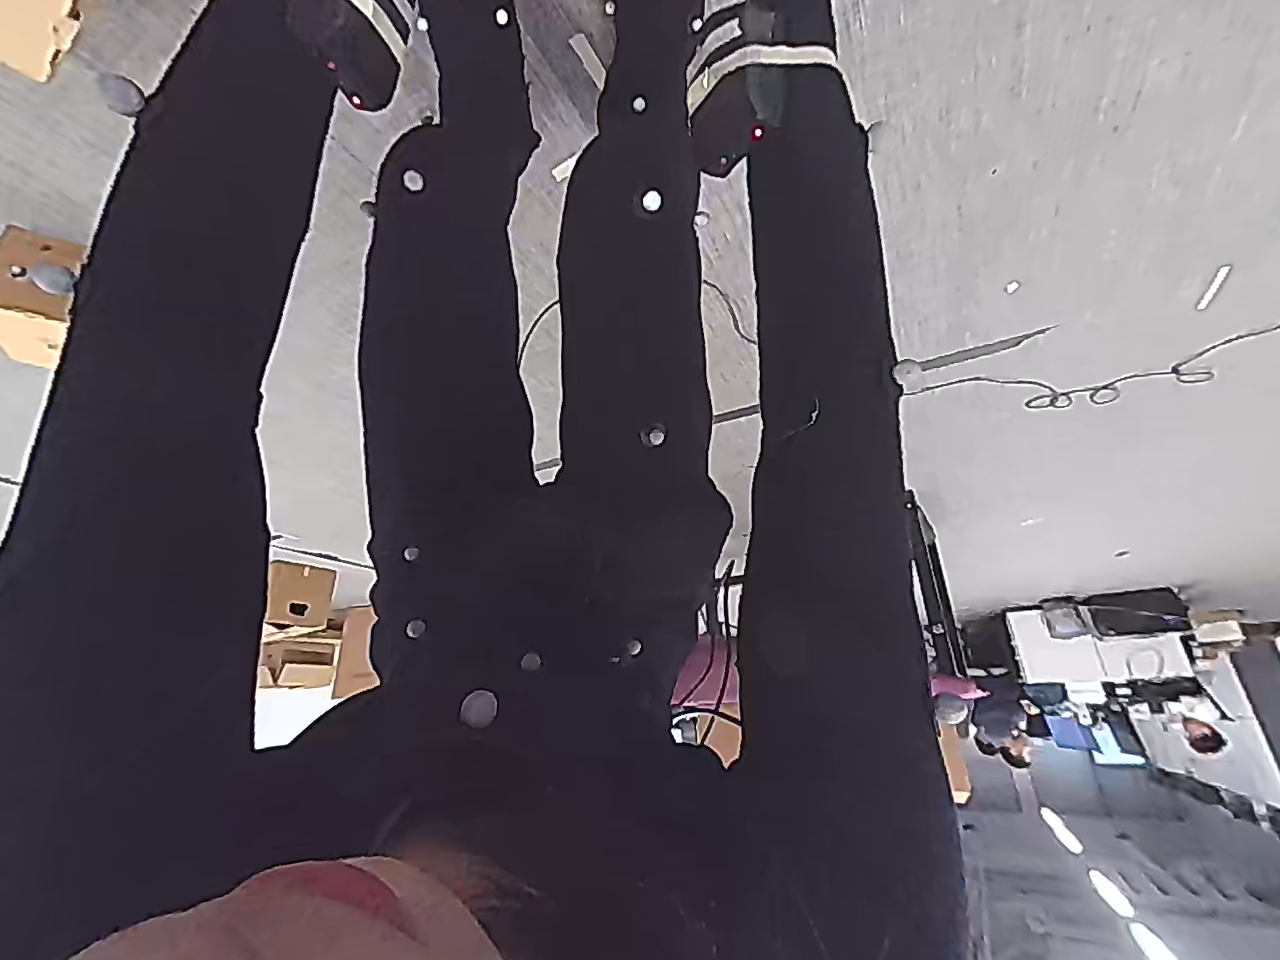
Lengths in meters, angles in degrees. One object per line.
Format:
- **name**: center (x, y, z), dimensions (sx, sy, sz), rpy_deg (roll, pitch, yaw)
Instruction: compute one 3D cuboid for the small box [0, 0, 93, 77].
- **small box**: center (-0.609, -0.540, 0.491), dimensions (0.168, 0.176, 0.179), rpy_deg (-18, 152, 31)
